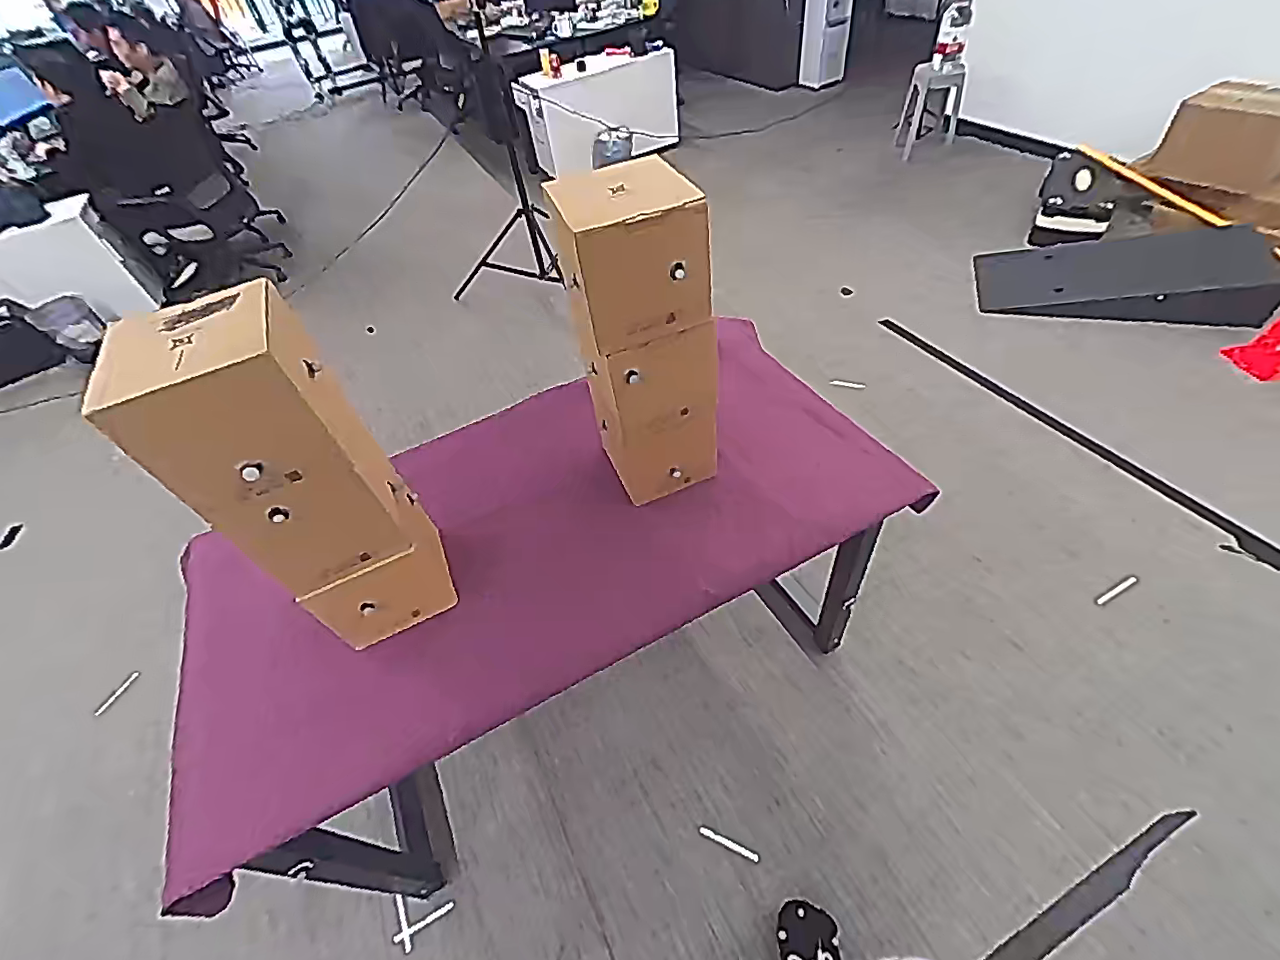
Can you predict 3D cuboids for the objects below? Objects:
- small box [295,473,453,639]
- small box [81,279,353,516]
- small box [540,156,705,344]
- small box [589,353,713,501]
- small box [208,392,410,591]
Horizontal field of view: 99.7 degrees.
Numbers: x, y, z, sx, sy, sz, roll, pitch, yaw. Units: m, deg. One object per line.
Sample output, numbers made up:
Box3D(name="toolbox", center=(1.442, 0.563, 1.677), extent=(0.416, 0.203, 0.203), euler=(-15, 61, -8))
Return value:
Box3D(name="small box", center=(-0.415, 0.126, 0.854), extent=(0.168, 0.176, 0.179), euler=(-25, 50, -12))
Box3D(name="small box", center=(-0.452, -0.093, 0.611), extent=(0.168, 0.176, 0.179), euler=(-24, 50, -12))
Box3D(name="small box", center=(-0.018, -0.301, 0.725), extent=(0.168, 0.176, 0.179), euler=(-19, 48, -9))
Box3D(name="small box", center=(0.021, -0.093, 0.974), extent=(0.168, 0.176, 0.179), euler=(-21, 49, -9))
Box3D(name="small box", center=(-0.438, 0.016, 0.735), extent=(0.168, 0.176, 0.179), euler=(-25, 49, -12))
